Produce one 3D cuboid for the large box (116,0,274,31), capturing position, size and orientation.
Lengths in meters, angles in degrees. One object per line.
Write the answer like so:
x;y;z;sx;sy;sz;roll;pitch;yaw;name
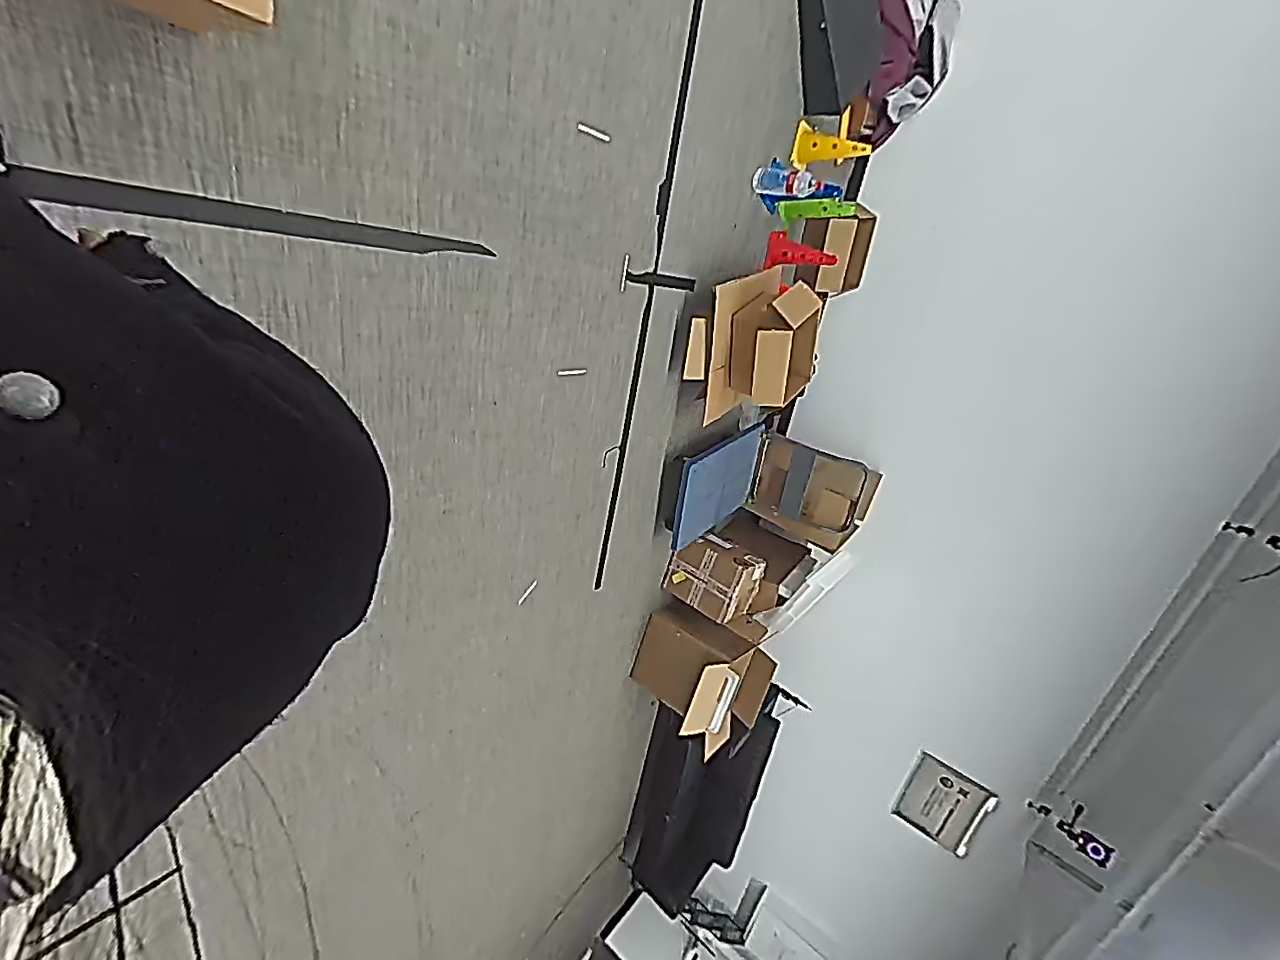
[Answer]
-0.783;-0.877;0.717;0.408;0.320;0.320;-17;126;-52;large box
